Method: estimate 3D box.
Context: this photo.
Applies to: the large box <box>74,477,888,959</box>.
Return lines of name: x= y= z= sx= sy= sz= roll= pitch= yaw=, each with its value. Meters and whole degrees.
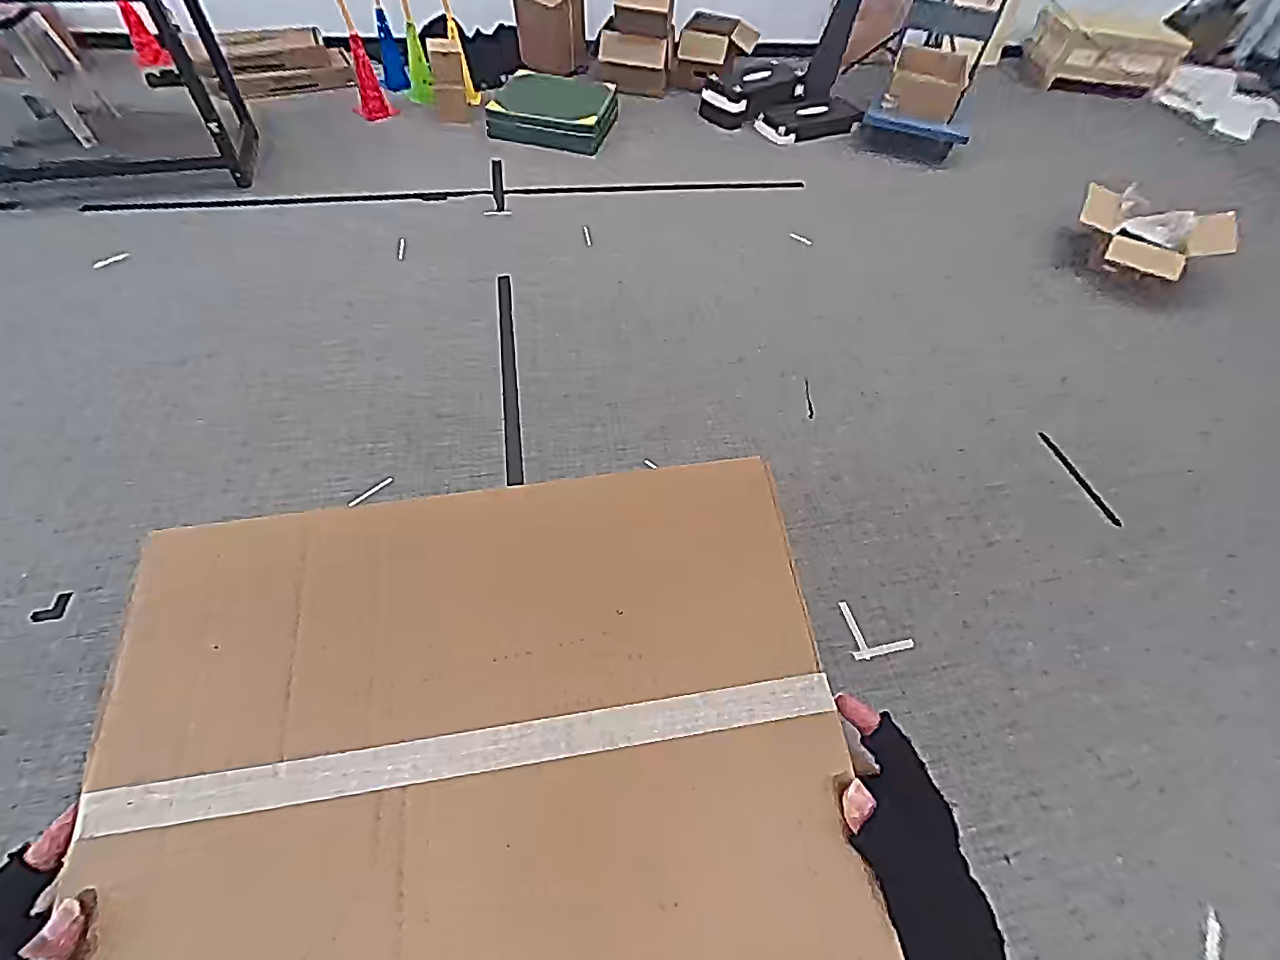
large box: x=-0.090 y=0.221 z=0.442 sx=0.408 sy=0.320 sz=0.320 roll=-7 pitch=65 yaw=-5
